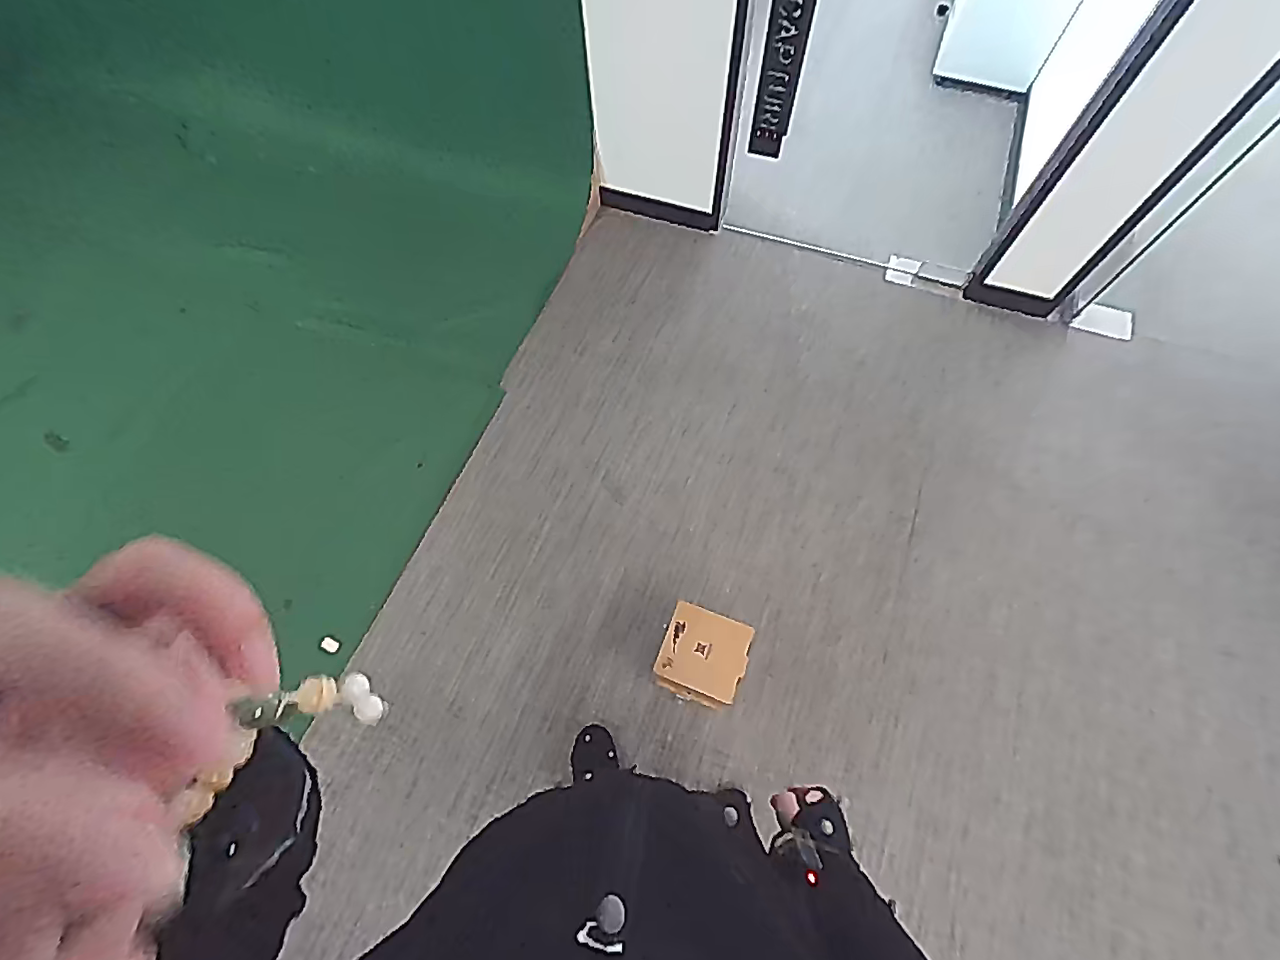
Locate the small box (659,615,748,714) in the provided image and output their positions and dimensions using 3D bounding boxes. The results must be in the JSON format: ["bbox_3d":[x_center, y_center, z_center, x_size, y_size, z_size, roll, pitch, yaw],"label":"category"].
[{"bbox_3d":[0.154,0.462,1.343,0.168,0.176,0.179,21,68,13],"label":"small box"}]
